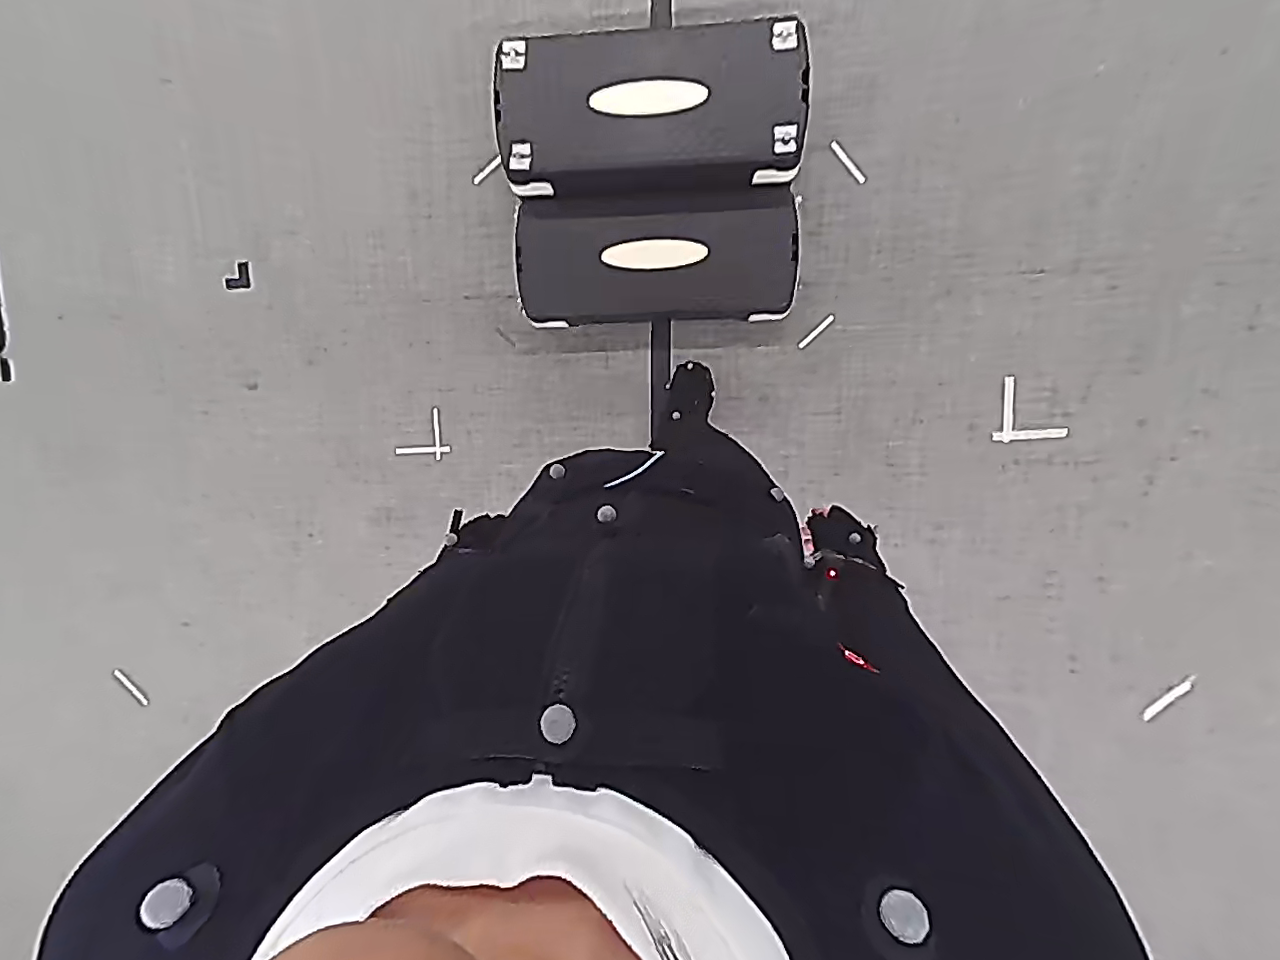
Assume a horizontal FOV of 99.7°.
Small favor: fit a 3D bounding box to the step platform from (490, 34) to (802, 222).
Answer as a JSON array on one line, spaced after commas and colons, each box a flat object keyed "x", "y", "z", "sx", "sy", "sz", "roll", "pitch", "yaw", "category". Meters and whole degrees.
[{"x": 0.012, "y": -0.783, "z": 1.226, "sx": 0.684, "sy": 0.204, "sz": 0.286, "roll": -2, "pitch": 98, "yaw": 4, "category": "step platform"}]
